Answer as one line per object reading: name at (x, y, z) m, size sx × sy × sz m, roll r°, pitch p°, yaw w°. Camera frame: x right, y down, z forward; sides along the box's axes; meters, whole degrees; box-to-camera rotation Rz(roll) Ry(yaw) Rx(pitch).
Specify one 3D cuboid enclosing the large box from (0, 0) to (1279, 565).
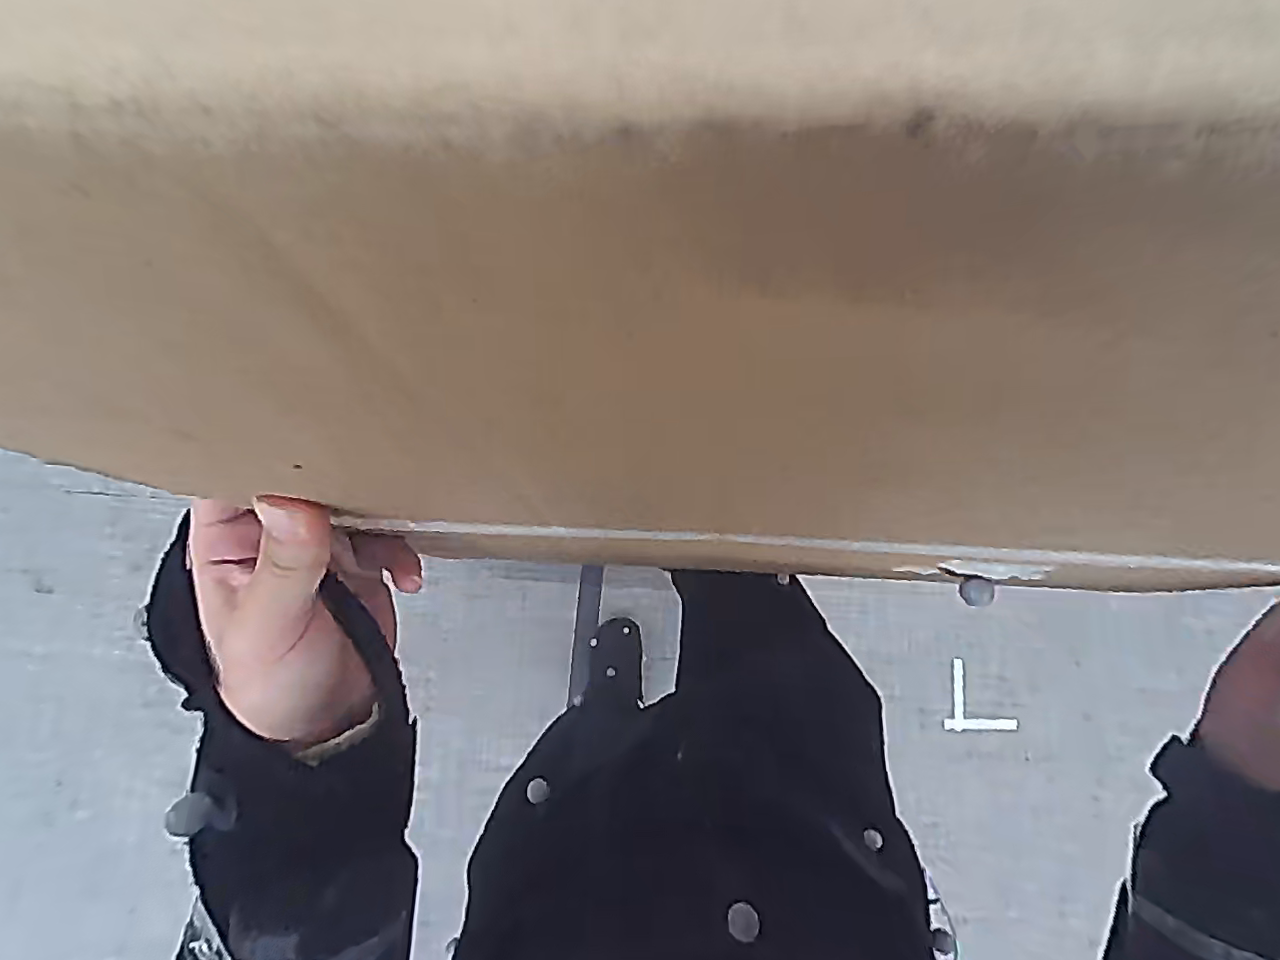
large box at (0.074, -0.142, 0.220) m, size 0.408 × 0.320 × 0.320 m, roll 2°, pitch 76°, yaw 2°
